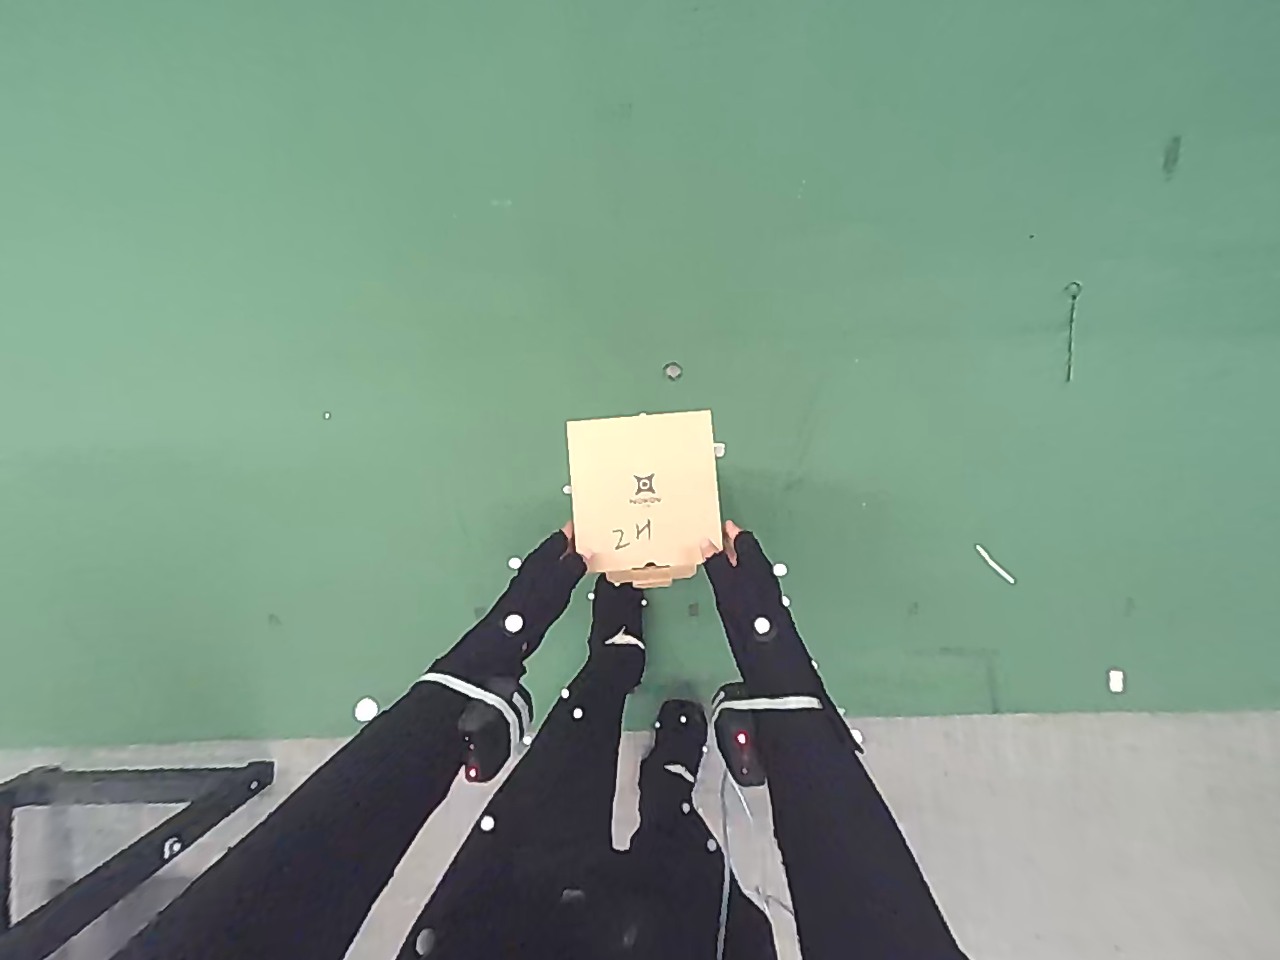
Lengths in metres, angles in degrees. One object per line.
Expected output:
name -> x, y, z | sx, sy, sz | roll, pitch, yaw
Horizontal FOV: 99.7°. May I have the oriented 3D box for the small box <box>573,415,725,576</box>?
small box -> 0.010, 0.021, 0.689 | 0.168, 0.176, 0.179 | -4, 88, 1
